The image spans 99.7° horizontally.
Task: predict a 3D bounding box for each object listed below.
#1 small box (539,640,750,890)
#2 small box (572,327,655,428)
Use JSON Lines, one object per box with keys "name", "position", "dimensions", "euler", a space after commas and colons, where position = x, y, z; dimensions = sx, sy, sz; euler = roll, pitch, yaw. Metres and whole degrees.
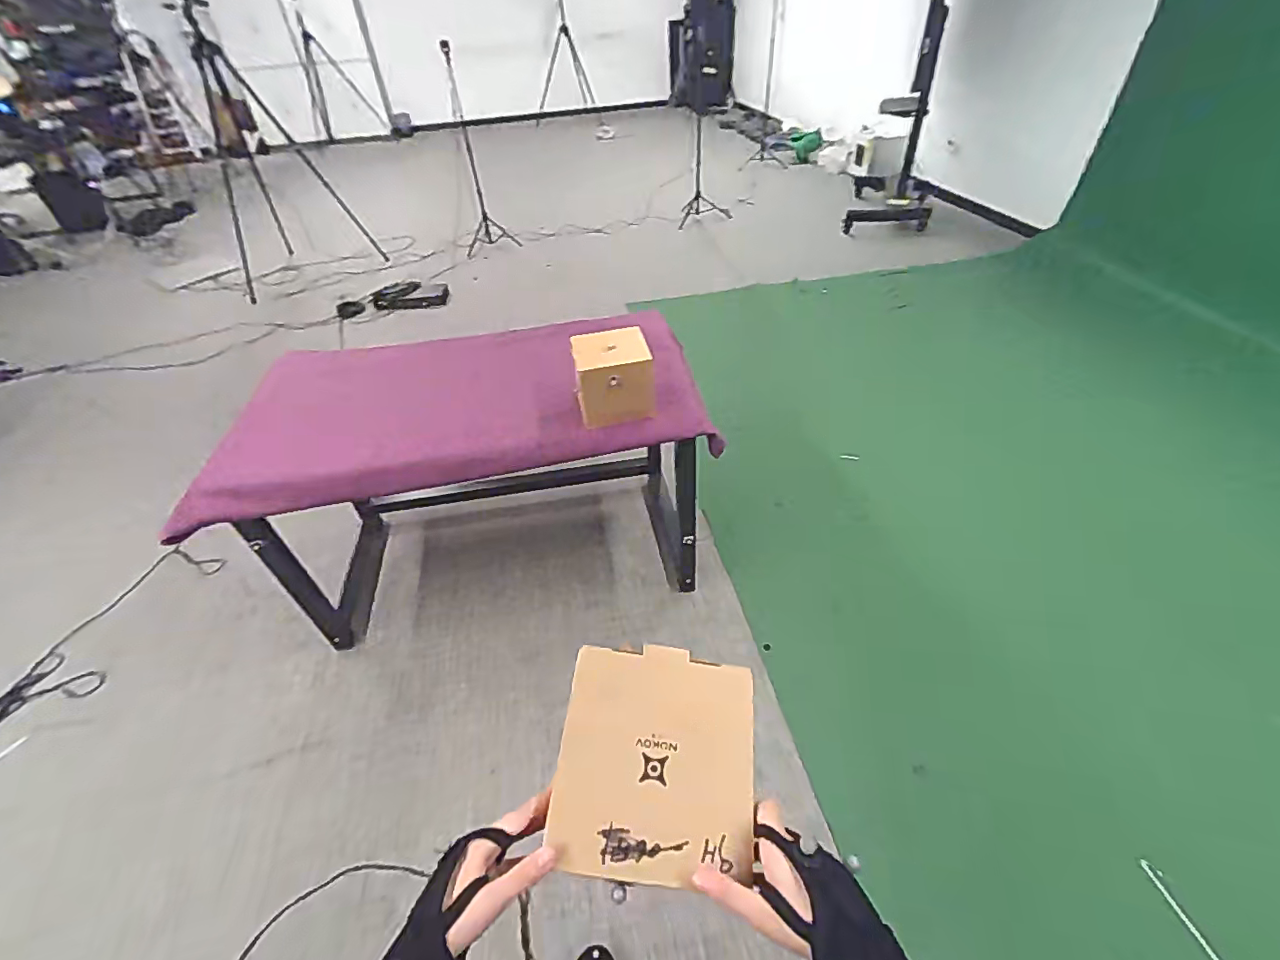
{"name": "small box", "position": [0.010, 0.280, 0.527], "dimensions": [0.168, 0.176, 0.179], "euler": [6, 53, 3]}
{"name": "small box", "position": [-0.062, -0.251, 1.339], "dimensions": [0.179, 0.176, 0.168], "euler": [-12, 44, -5]}
